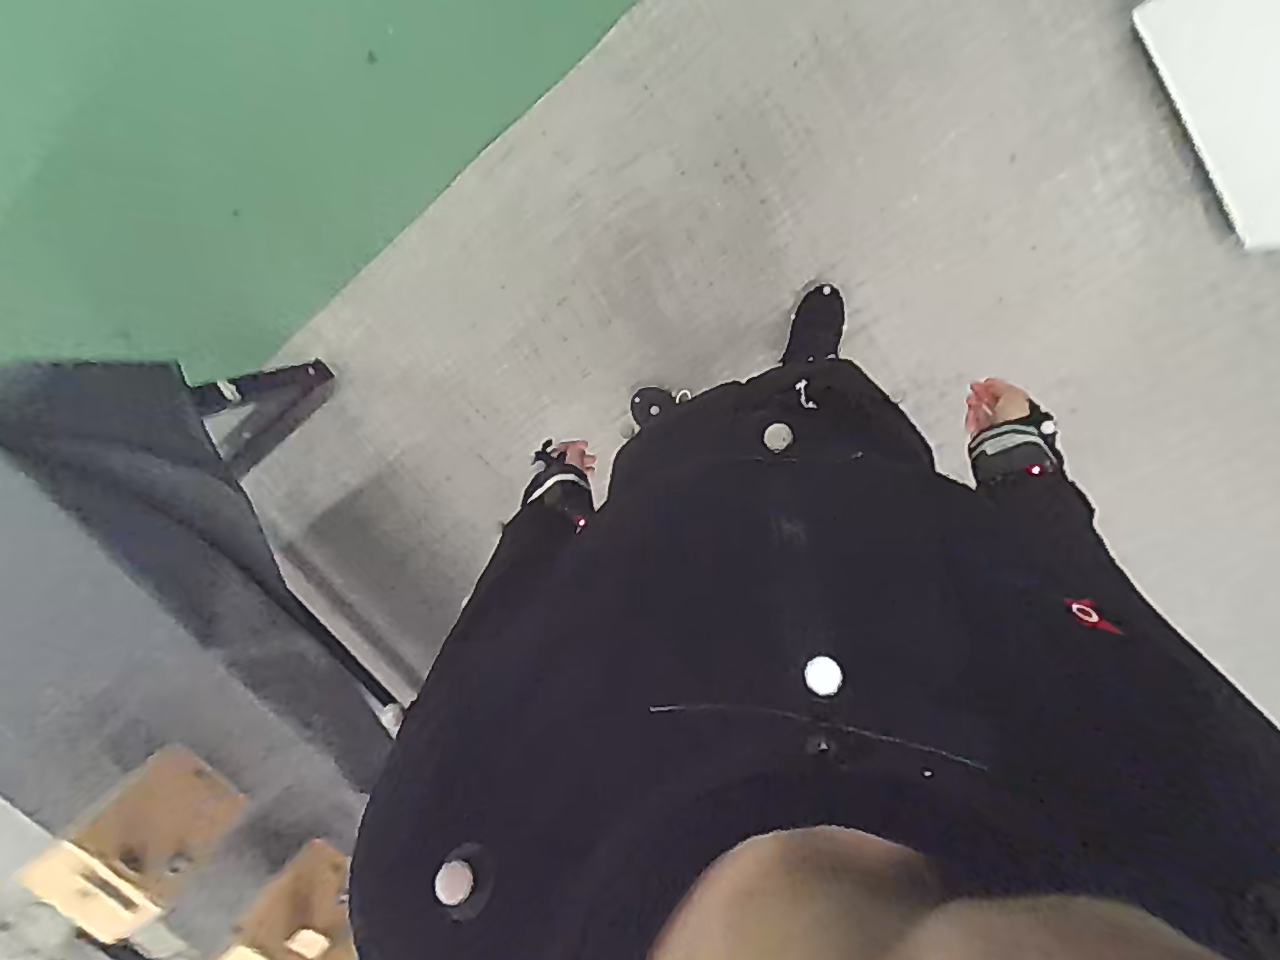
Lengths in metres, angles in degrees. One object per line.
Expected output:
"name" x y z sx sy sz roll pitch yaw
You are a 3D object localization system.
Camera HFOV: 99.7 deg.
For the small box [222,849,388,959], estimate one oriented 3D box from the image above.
"small box" -0.547 0.753 0.872 0.168 0.176 0.179 42 108 -7
